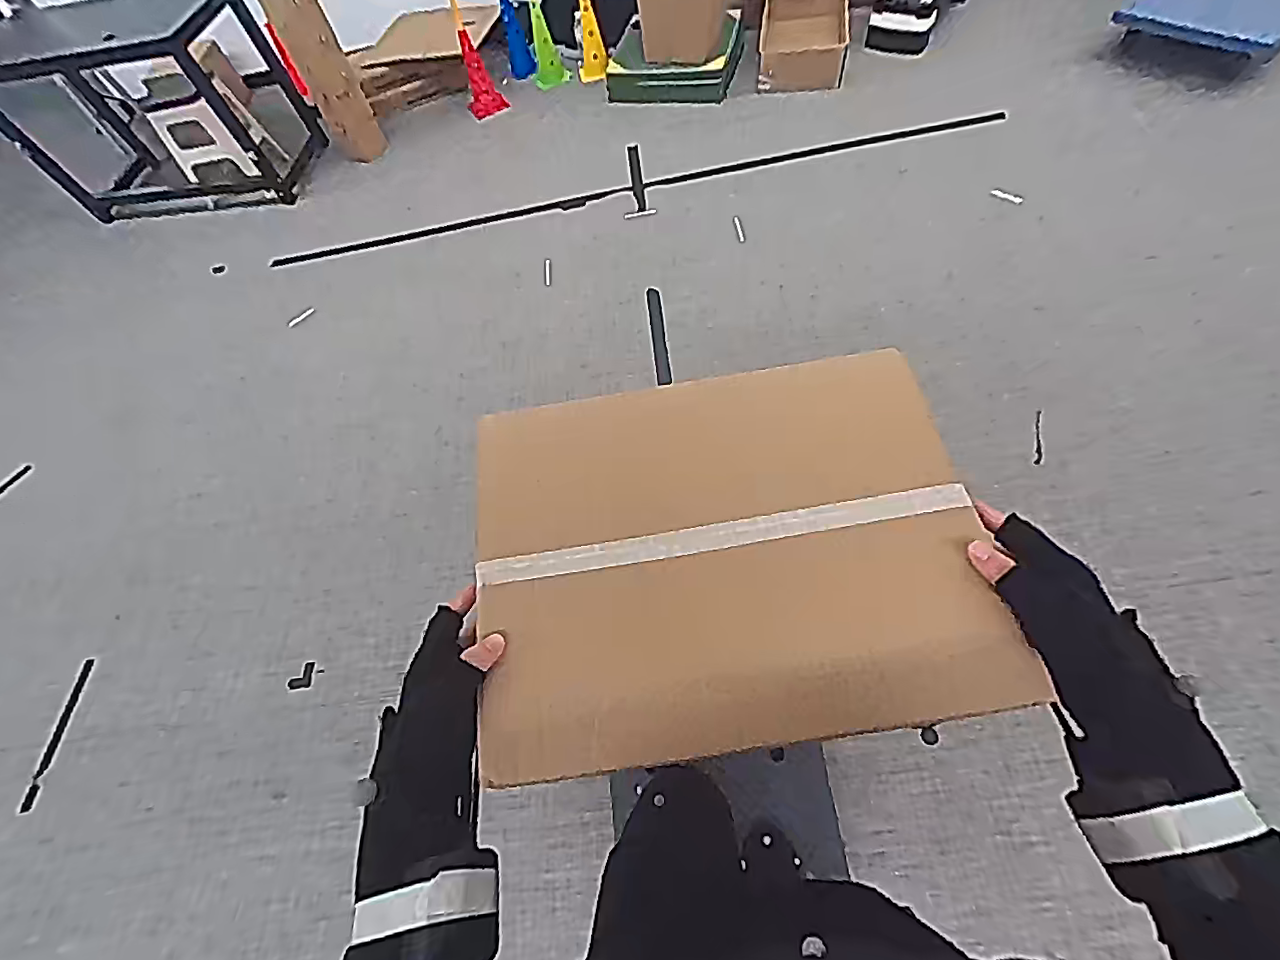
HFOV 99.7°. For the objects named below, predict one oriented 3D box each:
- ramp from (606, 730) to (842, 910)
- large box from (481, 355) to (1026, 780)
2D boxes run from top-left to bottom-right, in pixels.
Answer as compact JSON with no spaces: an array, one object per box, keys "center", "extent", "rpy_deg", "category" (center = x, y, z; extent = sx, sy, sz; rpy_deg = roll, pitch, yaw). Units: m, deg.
[{"center":[0.137,0.430,1.320],"extent":[0.509,0.206,0.991],"rpy_deg":[-9,61,2],"category":"ramp"},{"center":[0.078,0.110,0.588],"extent":[0.408,0.320,0.320],"rpy_deg":[-9,63,0],"category":"large box"}]
